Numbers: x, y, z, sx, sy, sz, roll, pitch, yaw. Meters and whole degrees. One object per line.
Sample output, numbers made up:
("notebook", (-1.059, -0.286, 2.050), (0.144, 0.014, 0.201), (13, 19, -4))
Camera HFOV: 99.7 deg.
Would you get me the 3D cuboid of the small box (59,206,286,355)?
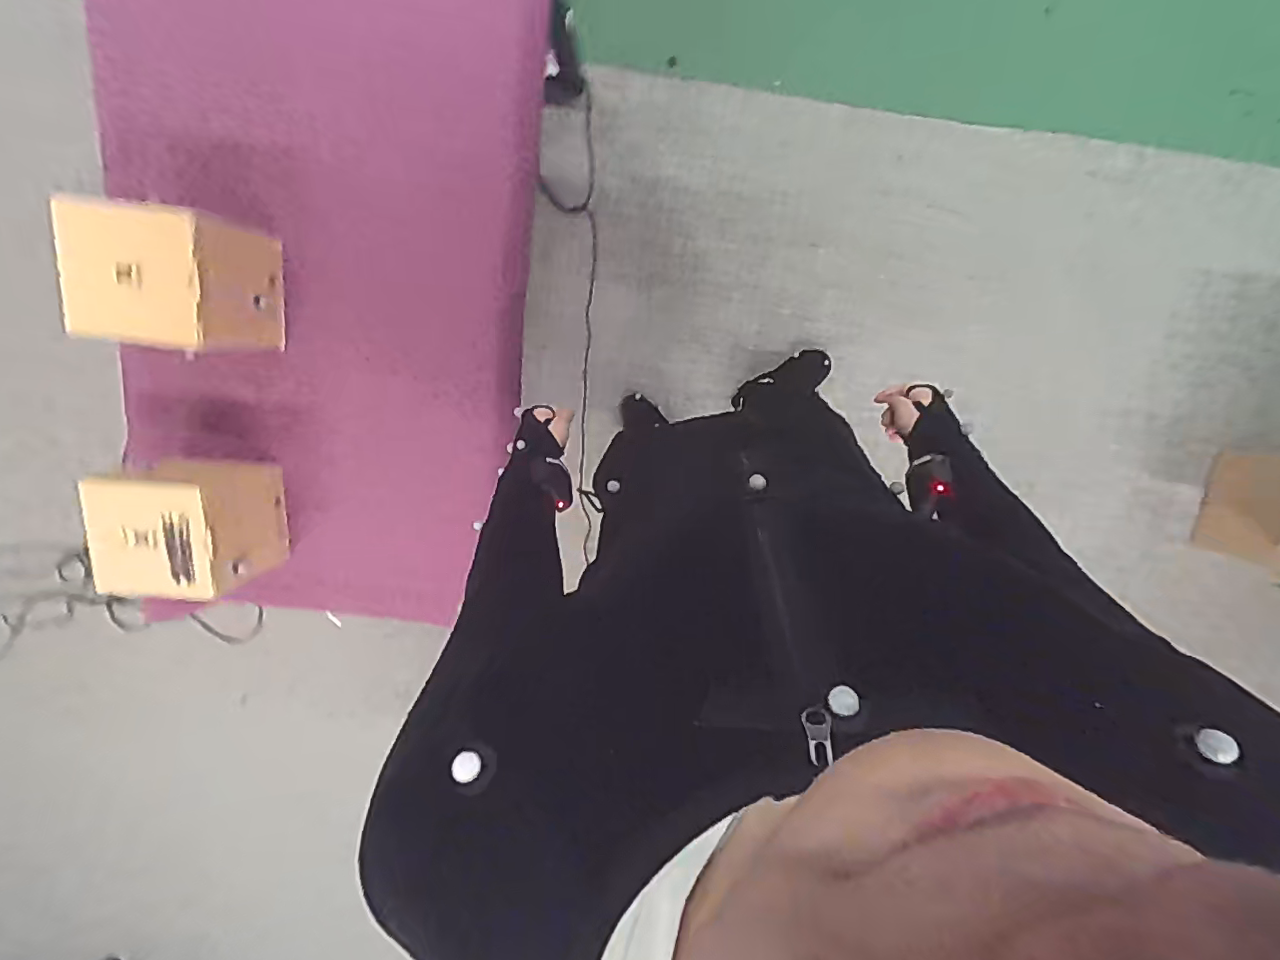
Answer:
("small box", (-0.641, -0.269, 0.764), (0.179, 0.176, 0.168), (6, 103, -1))
